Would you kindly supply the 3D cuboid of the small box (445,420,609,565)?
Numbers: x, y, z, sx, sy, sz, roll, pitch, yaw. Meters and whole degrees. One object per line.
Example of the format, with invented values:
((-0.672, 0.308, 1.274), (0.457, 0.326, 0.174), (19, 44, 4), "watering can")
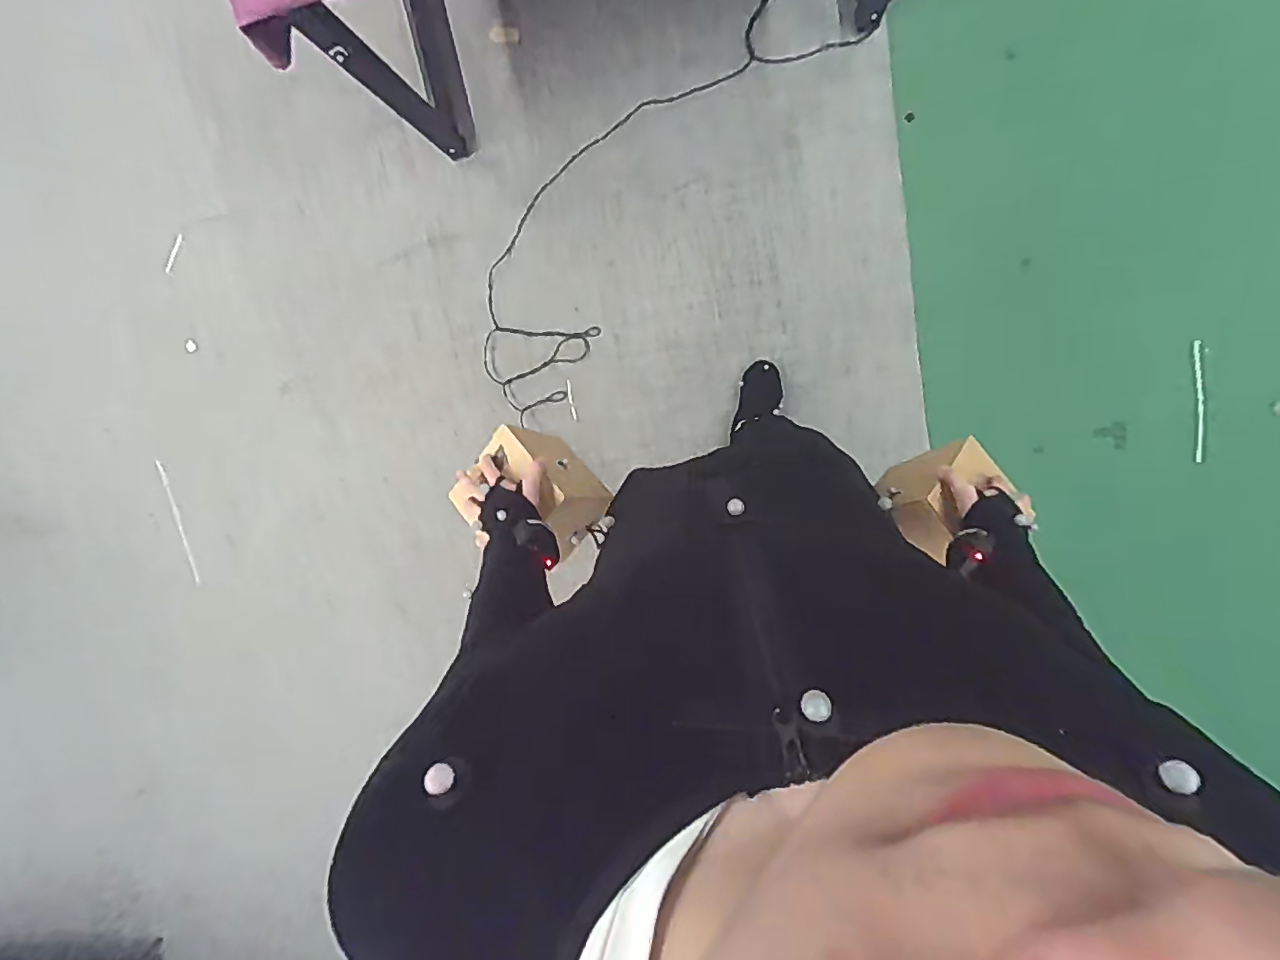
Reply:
((-0.188, 0.025, 0.926), (0.179, 0.176, 0.168), (46, 106, 20), "small box")

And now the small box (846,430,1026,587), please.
((0.469, 0.055, 0.879), (0.179, 0.176, 0.168), (-41, 92, -29), "small box")

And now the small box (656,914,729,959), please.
((0.134, 1.229, 1.336), (0.168, 0.176, 0.179), (-7, 97, 8), "small box")
